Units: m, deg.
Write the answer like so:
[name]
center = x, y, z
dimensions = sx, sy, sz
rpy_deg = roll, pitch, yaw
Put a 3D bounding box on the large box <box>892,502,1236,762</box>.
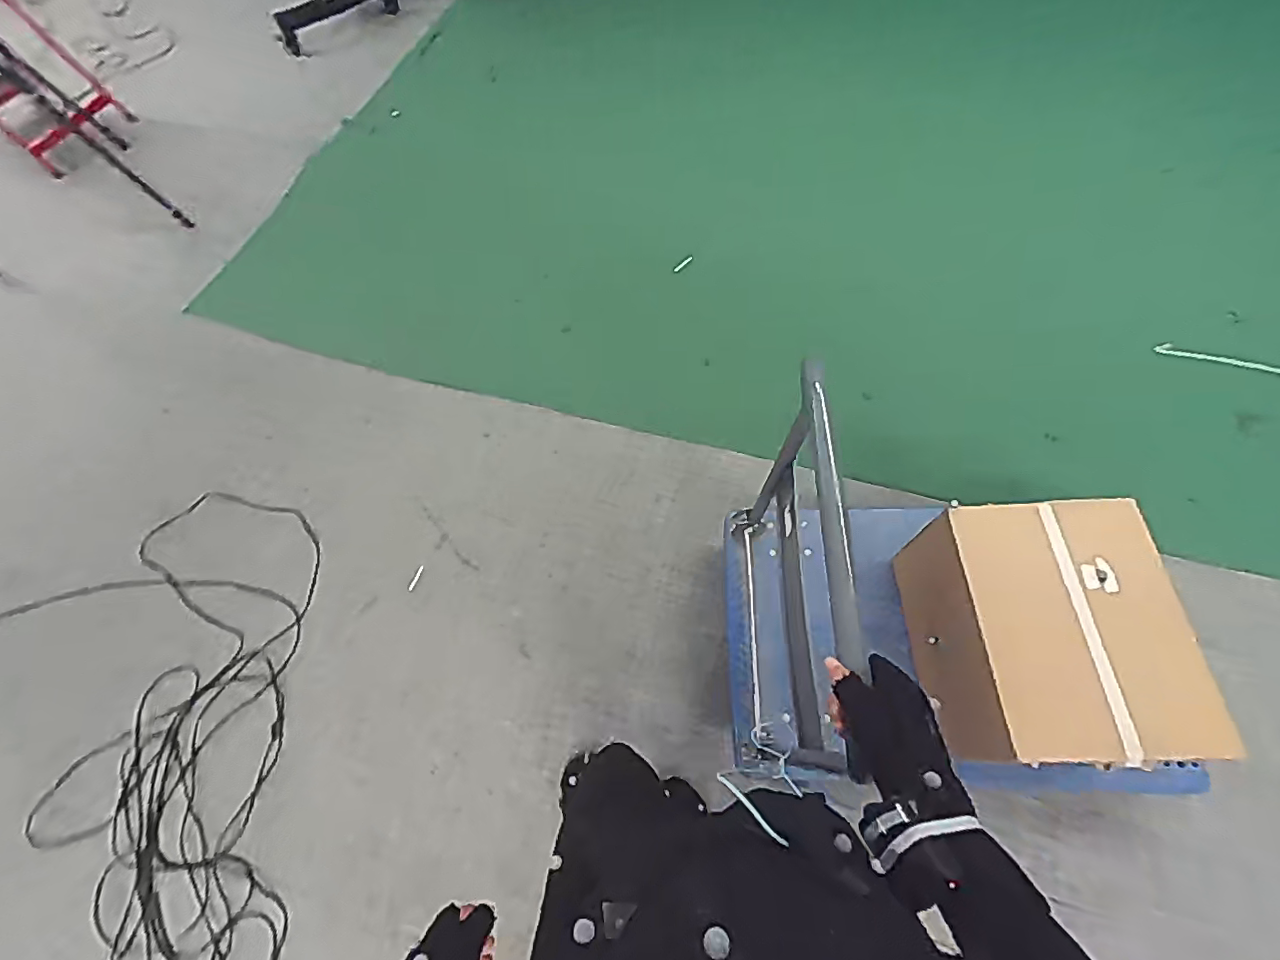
[large box]
center = 0.712, 0.292, 1.003
dimensions = 0.320, 0.320, 0.408
rpy_deg = -3, 63, 4
